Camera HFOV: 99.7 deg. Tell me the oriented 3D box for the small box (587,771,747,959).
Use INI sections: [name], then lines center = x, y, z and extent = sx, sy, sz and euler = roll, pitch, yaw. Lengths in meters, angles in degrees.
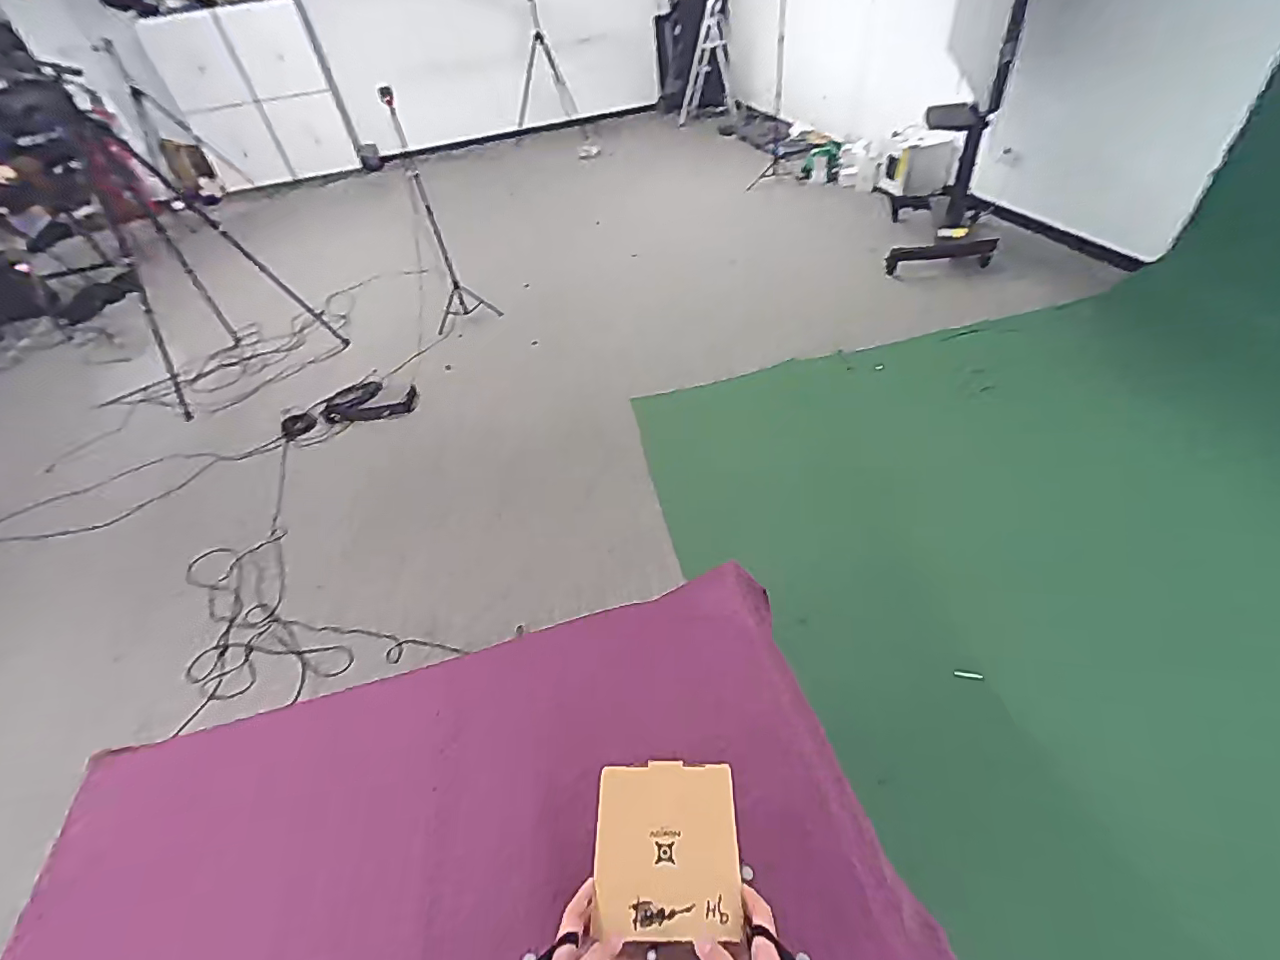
[small box]
center = 0.039, 0.483, 0.663
extent = 0.168, 0.176, 0.179
euler = -5, 41, 7
